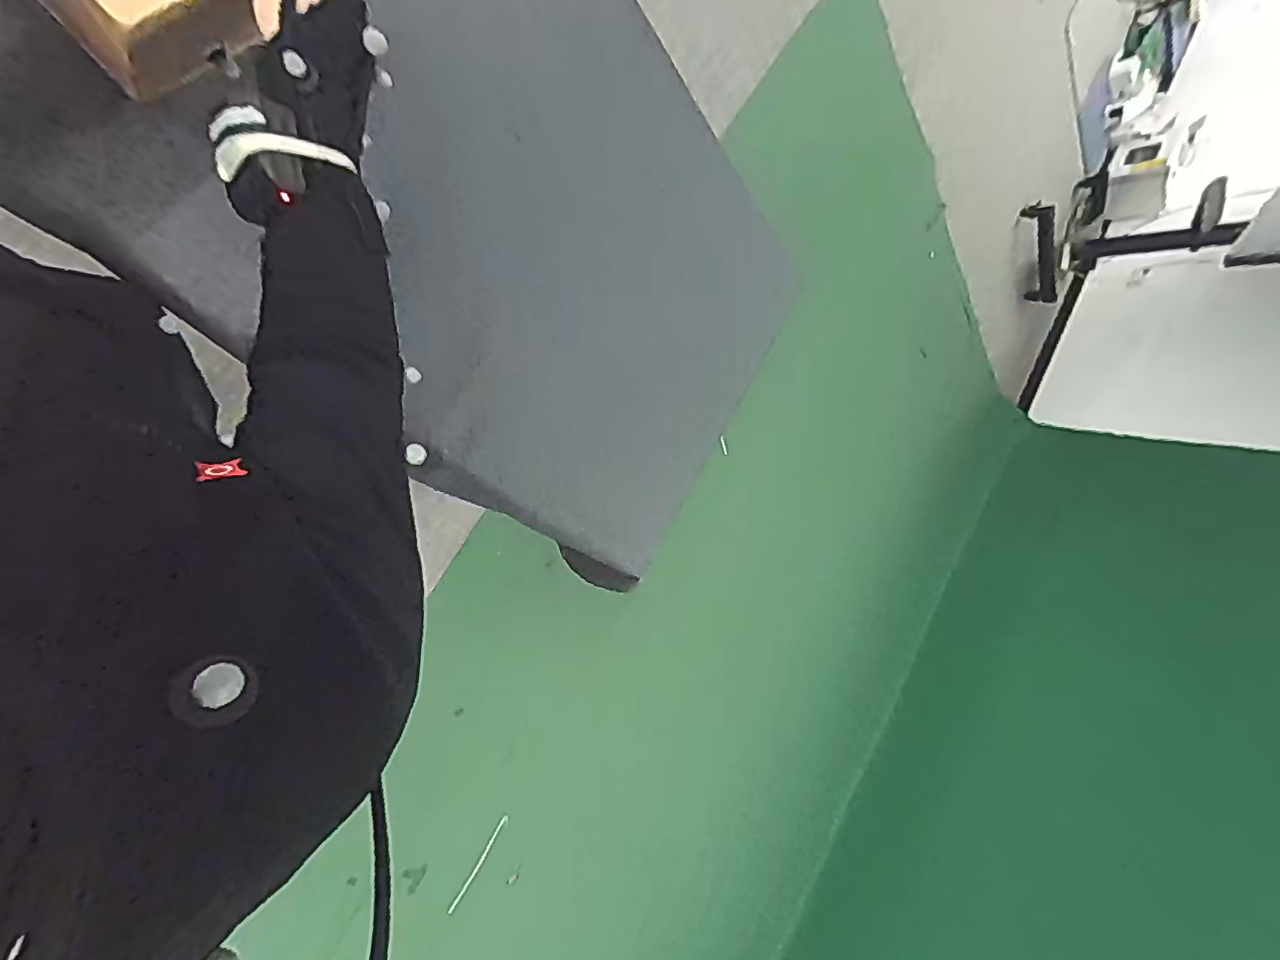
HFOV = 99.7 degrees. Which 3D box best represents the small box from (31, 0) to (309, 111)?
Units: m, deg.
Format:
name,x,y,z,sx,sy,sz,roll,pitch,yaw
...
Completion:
name,x,y,z,sx,sy,sz,roll,pitch,yaw
small box,-0.354,-0.398,0.365,0.168,0.176,0.179,-50,129,-17
